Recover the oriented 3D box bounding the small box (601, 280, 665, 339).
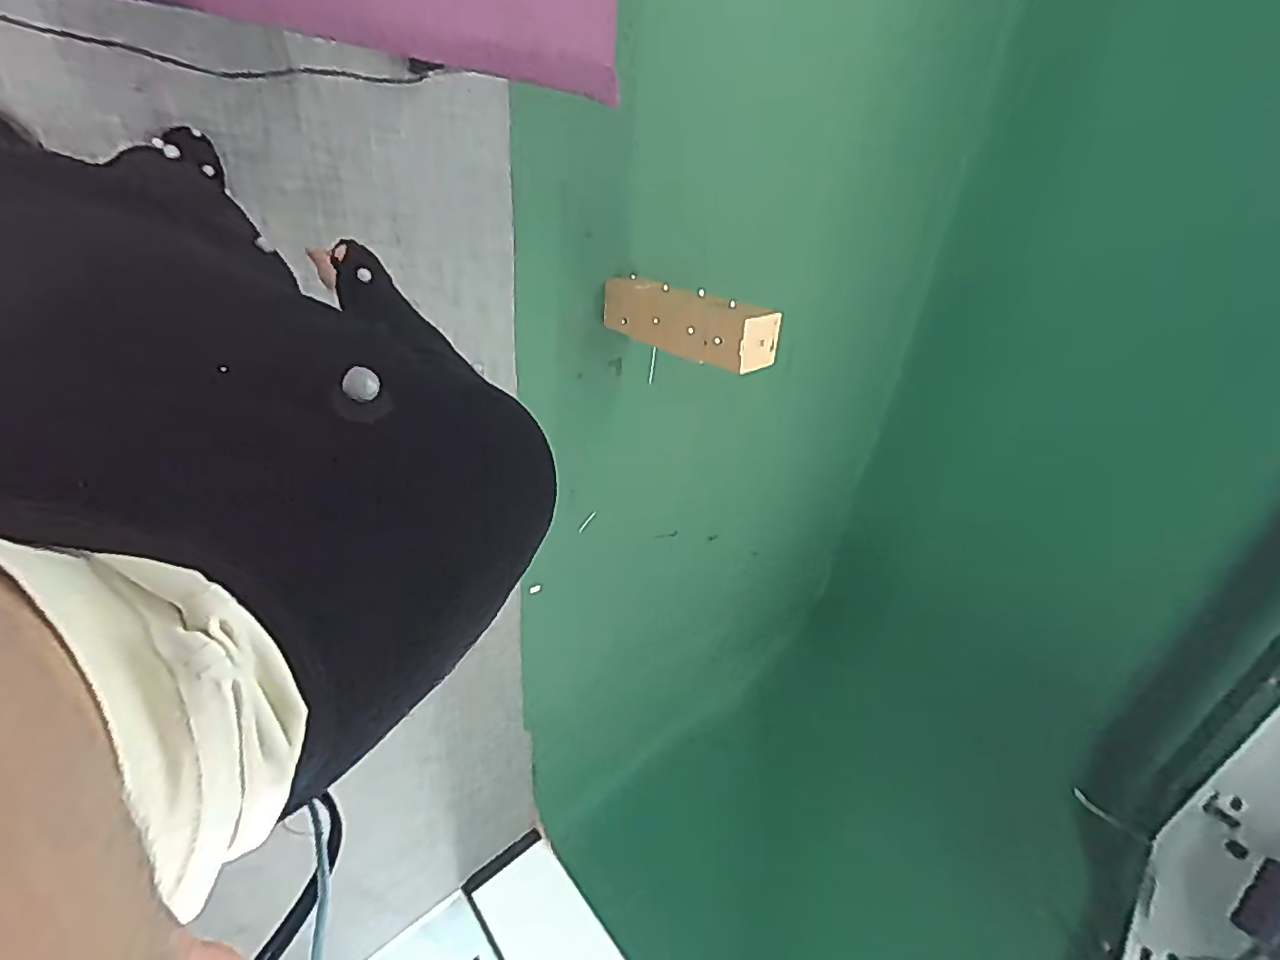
[{"bbox_3d":[-0.029,-0.634,1.998,0.168,0.176,0.179,-19,127,-38],"label":"small box"}]

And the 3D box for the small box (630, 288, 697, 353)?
[{"bbox_3d":[0.080,-0.564,1.901,0.168,0.176,0.179,-22,128,-36],"label":"small box"}]

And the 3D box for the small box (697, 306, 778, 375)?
[{"bbox_3d":[0.299,-0.441,1.690,0.179,0.176,0.168,-21,127,-36],"label":"small box"}]

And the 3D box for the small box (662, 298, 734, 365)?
[{"bbox_3d":[0.189,-0.501,1.796,0.168,0.176,0.179,-23,129,-35],"label":"small box"}]
